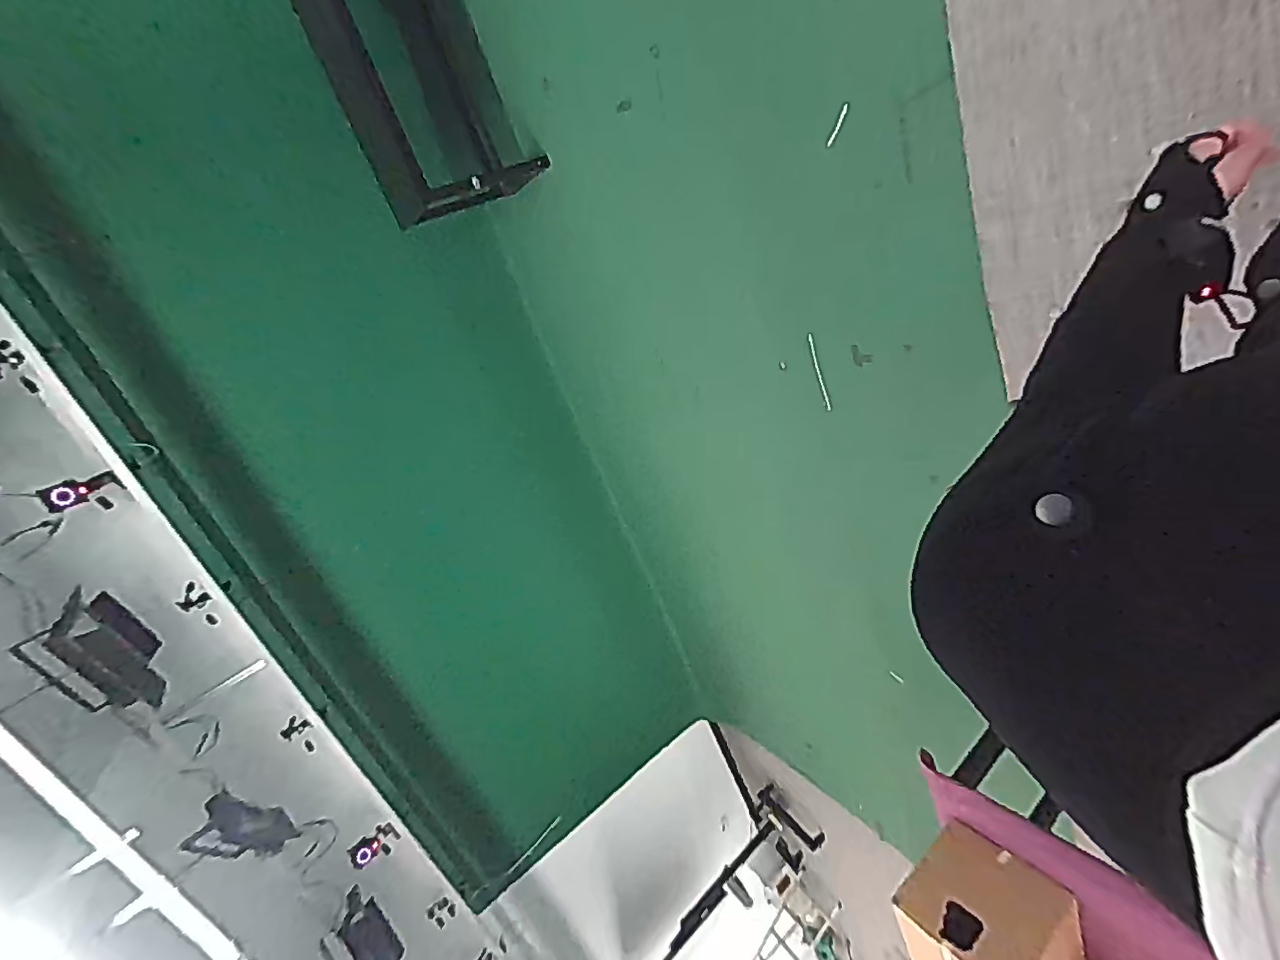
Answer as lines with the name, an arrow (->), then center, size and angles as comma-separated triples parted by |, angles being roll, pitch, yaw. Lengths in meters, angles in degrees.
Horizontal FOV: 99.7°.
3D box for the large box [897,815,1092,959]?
large box -> 0.961, 1.231, 1.454 | 0.320, 0.320, 0.408 | 10, 128, 57
